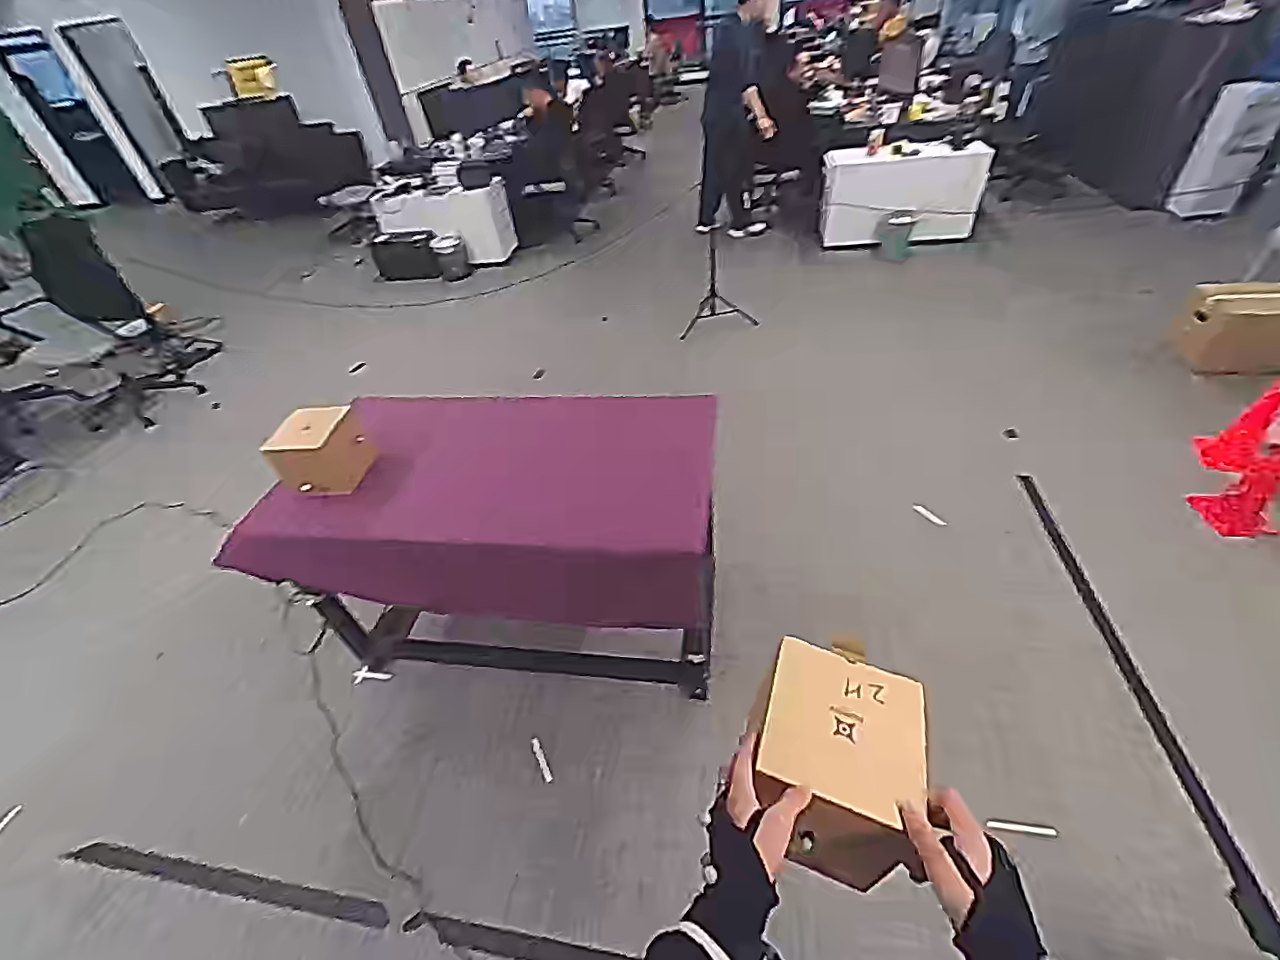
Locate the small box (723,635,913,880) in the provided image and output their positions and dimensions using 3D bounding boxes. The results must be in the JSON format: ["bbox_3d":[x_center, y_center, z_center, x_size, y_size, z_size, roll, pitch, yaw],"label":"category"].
[{"bbox_3d":[0.203,0.324,0.637,0.168,0.176,0.179,17,39,12],"label":"small box"}]

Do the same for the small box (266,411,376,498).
[{"bbox_3d":[-0.847,-0.069,1.463,0.168,0.176,0.179,-2,42,8],"label":"small box"}]
